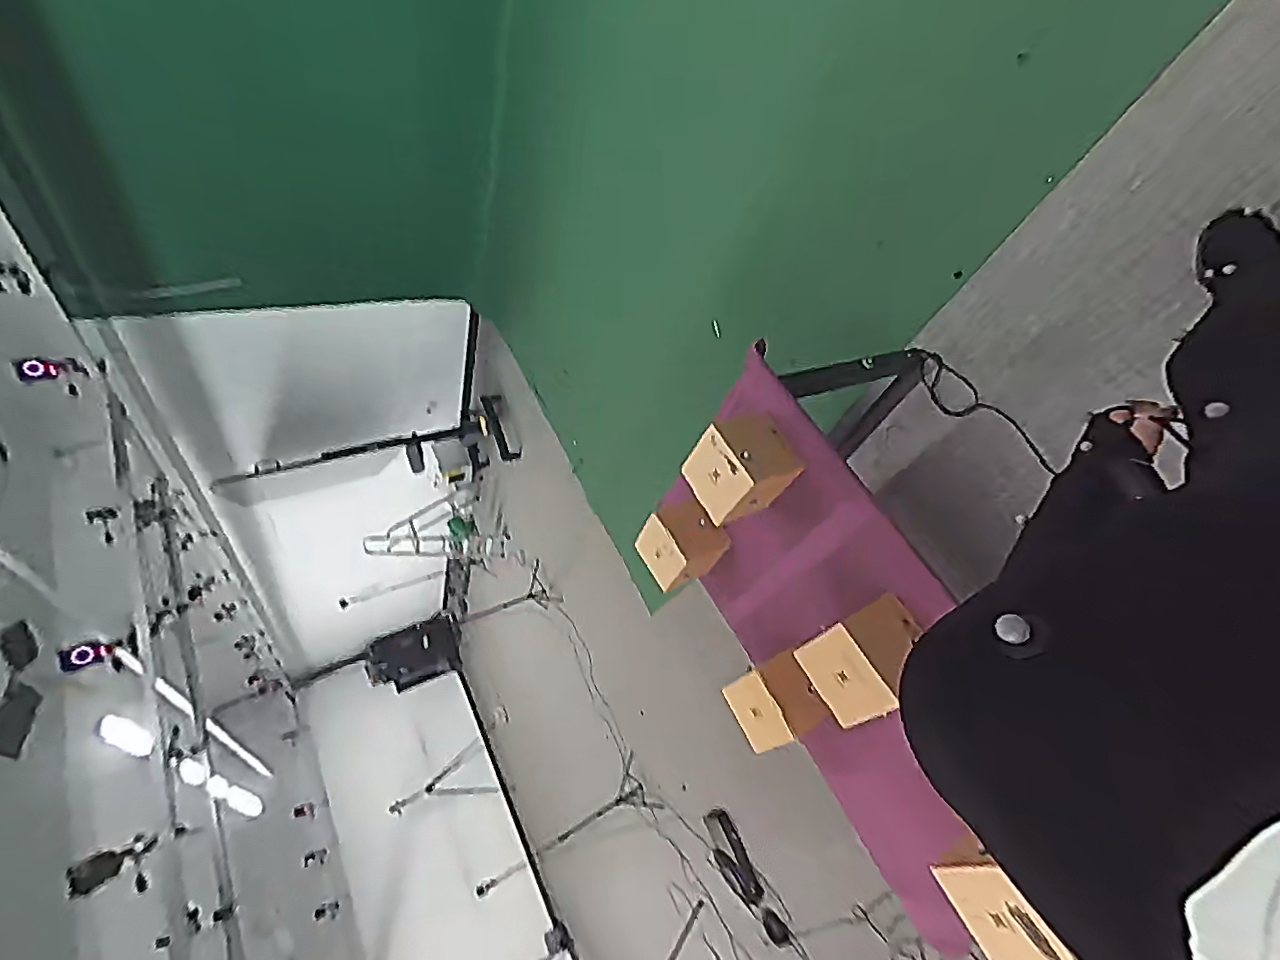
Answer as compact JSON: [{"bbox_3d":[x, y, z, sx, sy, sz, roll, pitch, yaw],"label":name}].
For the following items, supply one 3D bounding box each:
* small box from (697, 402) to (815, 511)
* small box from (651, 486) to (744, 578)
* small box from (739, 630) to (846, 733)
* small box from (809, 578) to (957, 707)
[{"bbox_3d":[0.267,-0.056,1.252,0.168,0.176,0.179,58,147,22],"label":"small box"},{"bbox_3d":[0.163,0.145,1.526,0.168,0.176,0.179,55,145,23],"label":"small box"},{"bbox_3d":[0.385,0.499,1.343,0.168,0.176,0.179,60,146,22],"label":"small box"},{"bbox_3d":[0.485,0.324,1.086,0.168,0.176,0.179,58,148,23],"label":"small box"}]
